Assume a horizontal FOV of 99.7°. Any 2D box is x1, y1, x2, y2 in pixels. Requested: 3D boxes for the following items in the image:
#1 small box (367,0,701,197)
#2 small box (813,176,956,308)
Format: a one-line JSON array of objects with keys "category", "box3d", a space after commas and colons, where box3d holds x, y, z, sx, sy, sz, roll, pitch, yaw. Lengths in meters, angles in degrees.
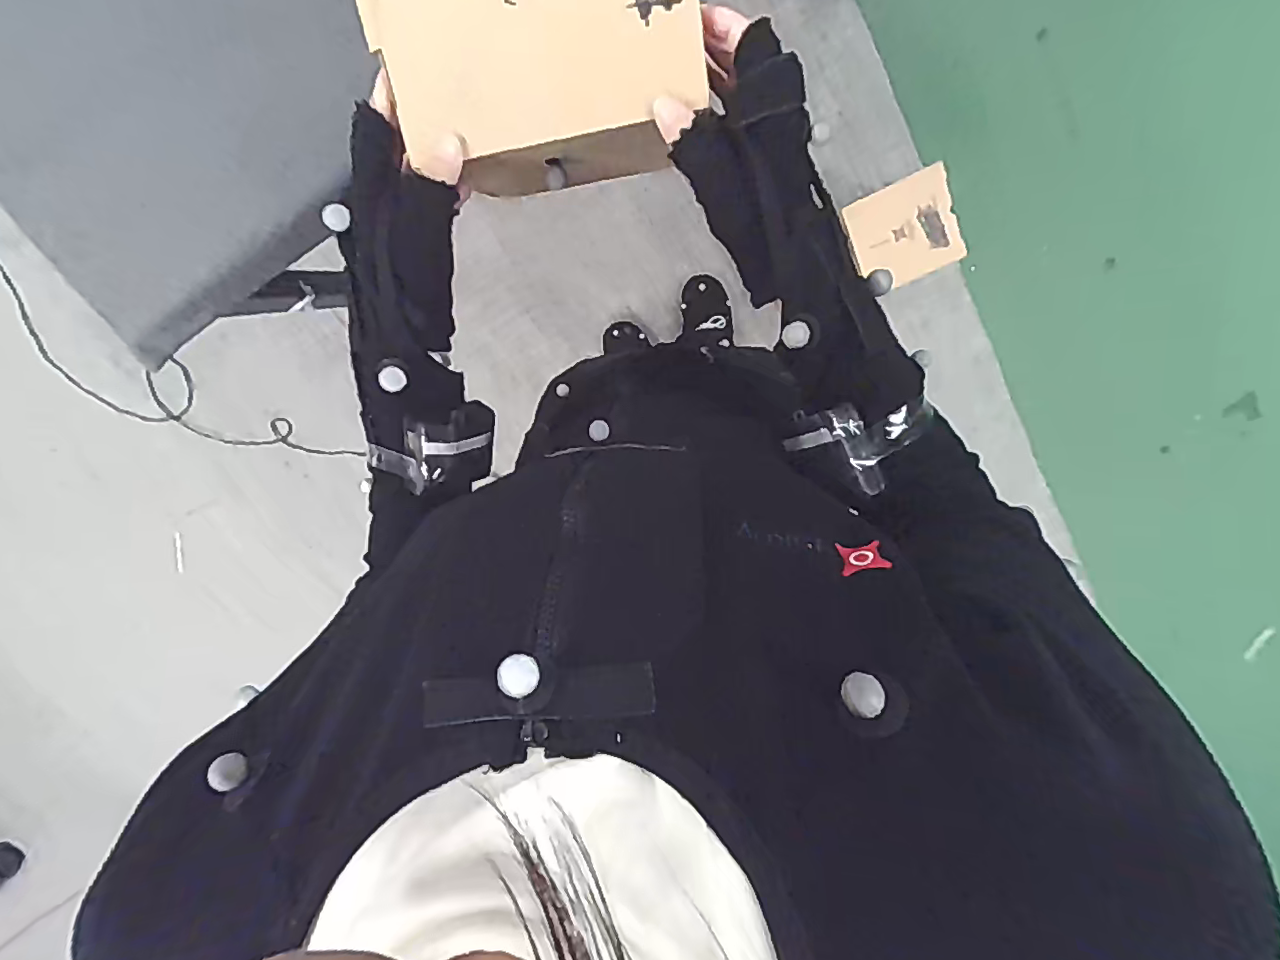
[{"category": "small box", "box3d": [-0.053, -0.293, 0.350, 0.179, 0.176, 0.168, -6, 111, 7]}, {"category": "small box", "box3d": [0.453, -0.440, 1.022, 0.179, 0.176, 0.168, -22, 105, 10]}]
